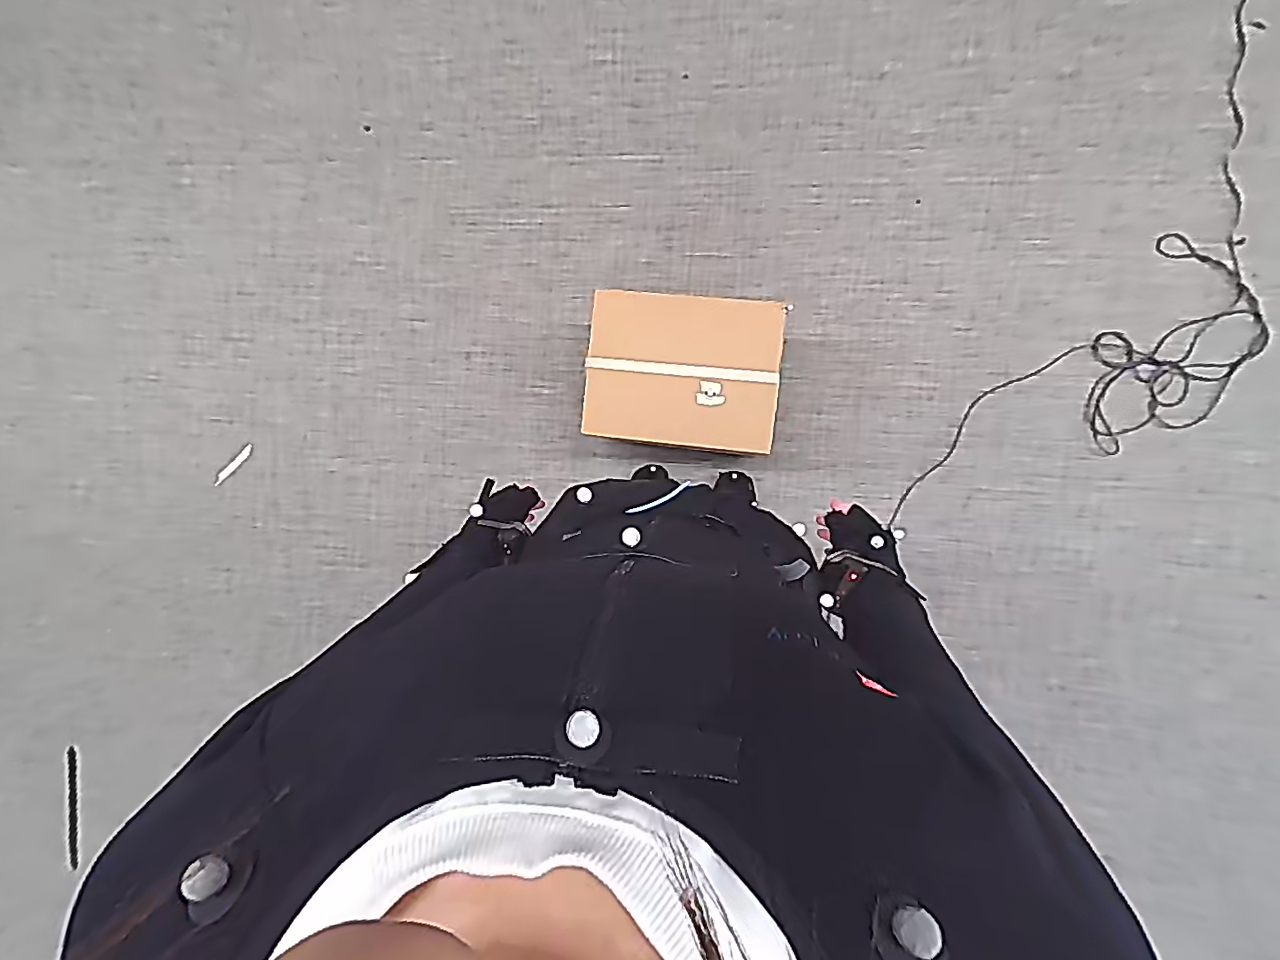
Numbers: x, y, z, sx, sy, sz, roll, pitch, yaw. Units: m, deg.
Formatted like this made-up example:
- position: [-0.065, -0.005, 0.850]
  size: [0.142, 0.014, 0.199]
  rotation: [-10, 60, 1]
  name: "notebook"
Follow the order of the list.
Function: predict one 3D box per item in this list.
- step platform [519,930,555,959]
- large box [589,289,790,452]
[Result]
- position: [-0.014, 1.437, 1.416]
  size: [0.684, 0.204, 0.286]
  rotation: [3, 92, 9]
  name: "step platform"
- position: [0.114, -0.241, 1.285]
  size: [0.408, 0.320, 0.320]
  rotation: [7, 93, 6]
  name: "large box"
